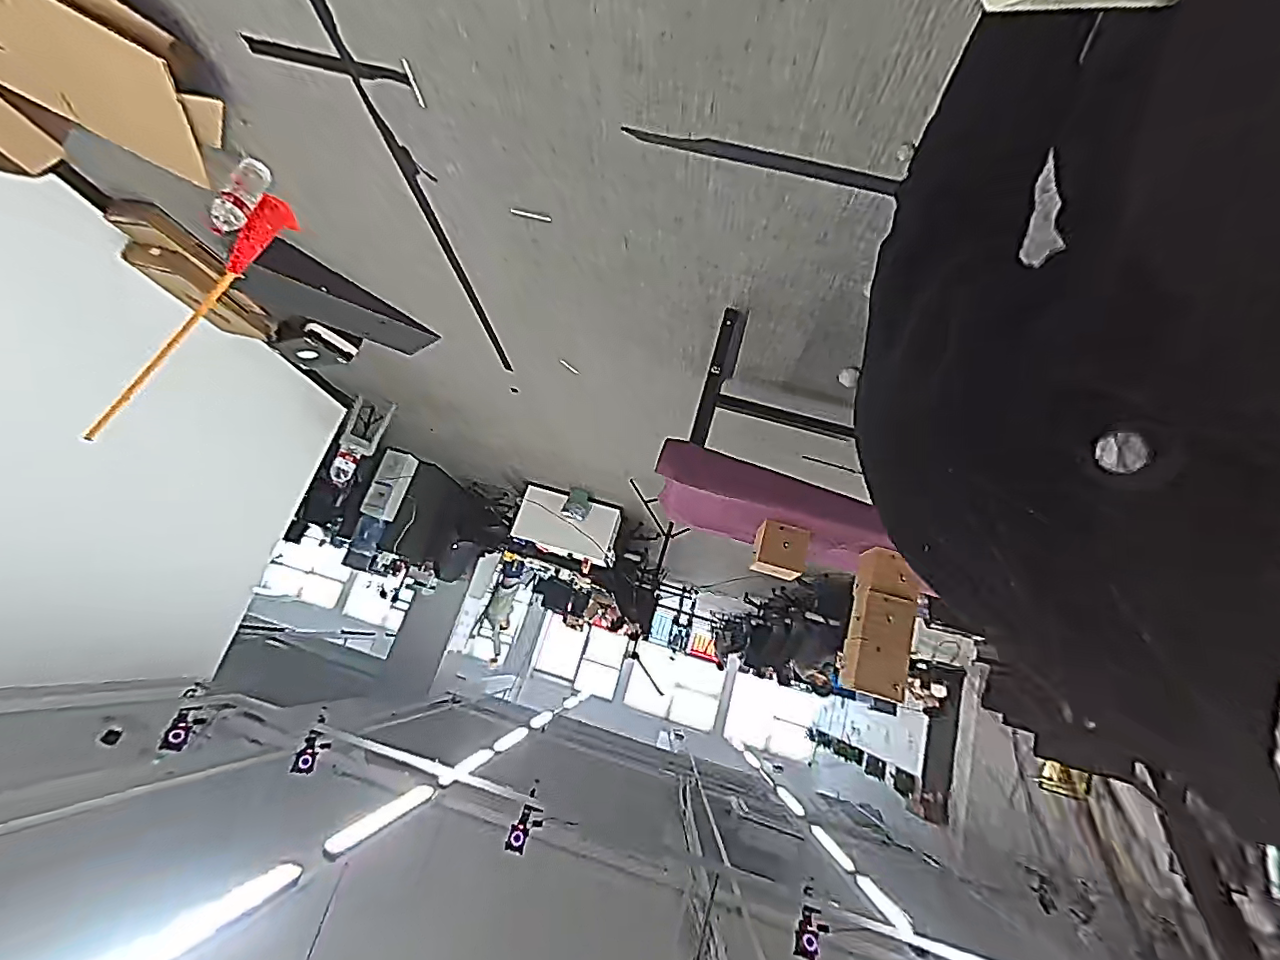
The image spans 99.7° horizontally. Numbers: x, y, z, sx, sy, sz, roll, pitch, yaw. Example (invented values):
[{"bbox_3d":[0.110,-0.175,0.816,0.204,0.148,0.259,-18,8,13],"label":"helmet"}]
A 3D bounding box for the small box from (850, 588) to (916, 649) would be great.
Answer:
[{"bbox_3d":[0.852,0.483,1.894,0.168,0.176,0.179,14,163,11],"label":"small box"}]

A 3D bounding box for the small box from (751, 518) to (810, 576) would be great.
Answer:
[{"bbox_3d":[0.529,0.251,2.035,0.168,0.176,0.179,16,164,6],"label":"small box"}]

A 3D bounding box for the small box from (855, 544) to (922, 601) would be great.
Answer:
[{"bbox_3d":[0.902,0.340,1.959,0.168,0.176,0.179,15,164,6],"label":"small box"}]
